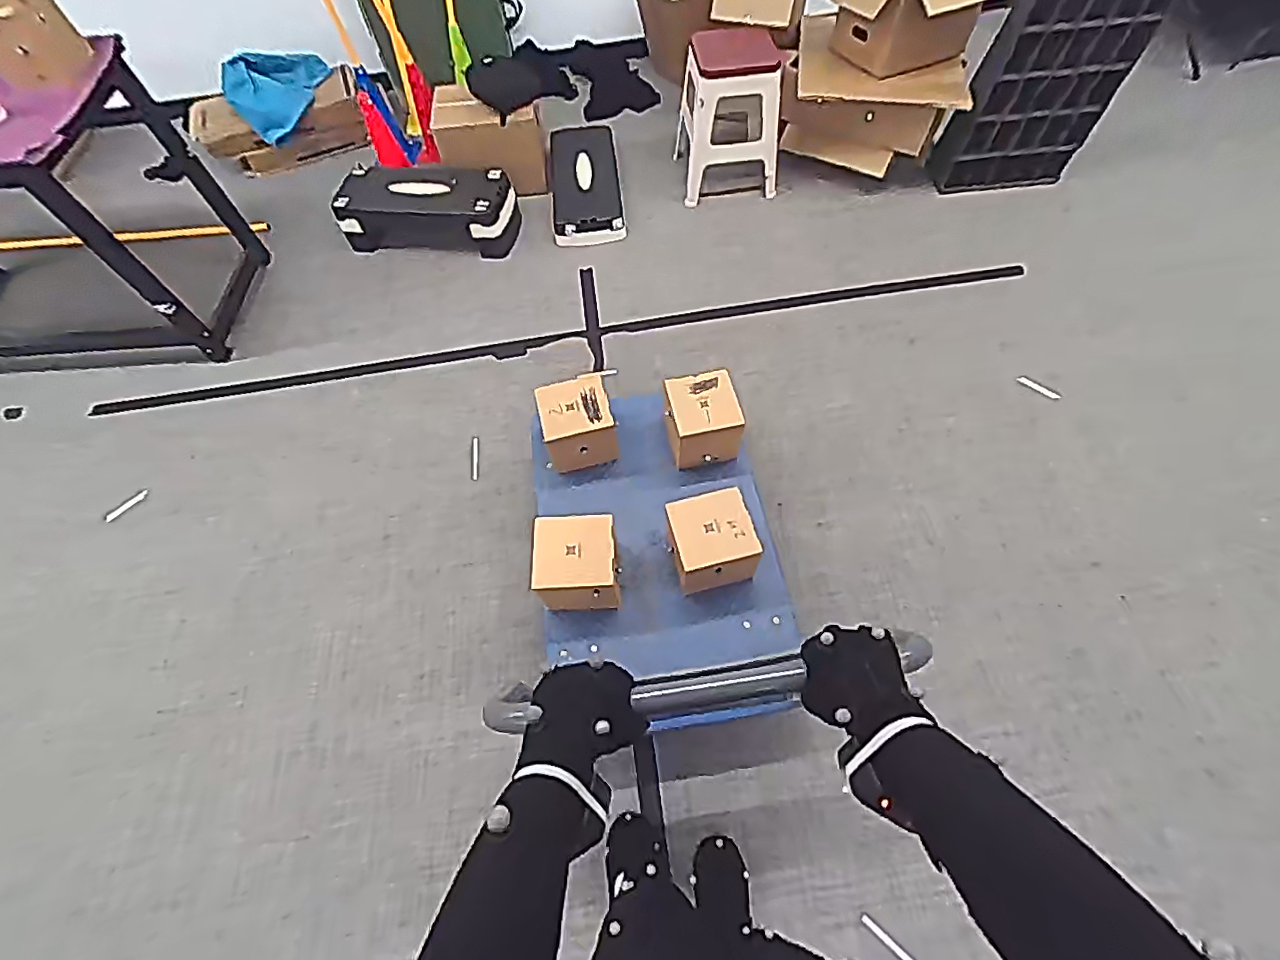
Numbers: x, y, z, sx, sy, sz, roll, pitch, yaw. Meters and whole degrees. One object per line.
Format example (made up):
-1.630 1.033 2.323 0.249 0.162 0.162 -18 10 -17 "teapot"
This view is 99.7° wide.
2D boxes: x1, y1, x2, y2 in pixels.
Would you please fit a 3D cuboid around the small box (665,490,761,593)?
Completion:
0.163 0.149 1.252 0.179 0.176 0.168 -13 62 -4 "small box"

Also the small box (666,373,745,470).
0.163 -0.149 1.411 0.168 0.176 0.179 -11 63 -3 "small box"

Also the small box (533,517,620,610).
-0.139 0.197 1.242 0.179 0.176 0.168 -3 61 0 "small box"
